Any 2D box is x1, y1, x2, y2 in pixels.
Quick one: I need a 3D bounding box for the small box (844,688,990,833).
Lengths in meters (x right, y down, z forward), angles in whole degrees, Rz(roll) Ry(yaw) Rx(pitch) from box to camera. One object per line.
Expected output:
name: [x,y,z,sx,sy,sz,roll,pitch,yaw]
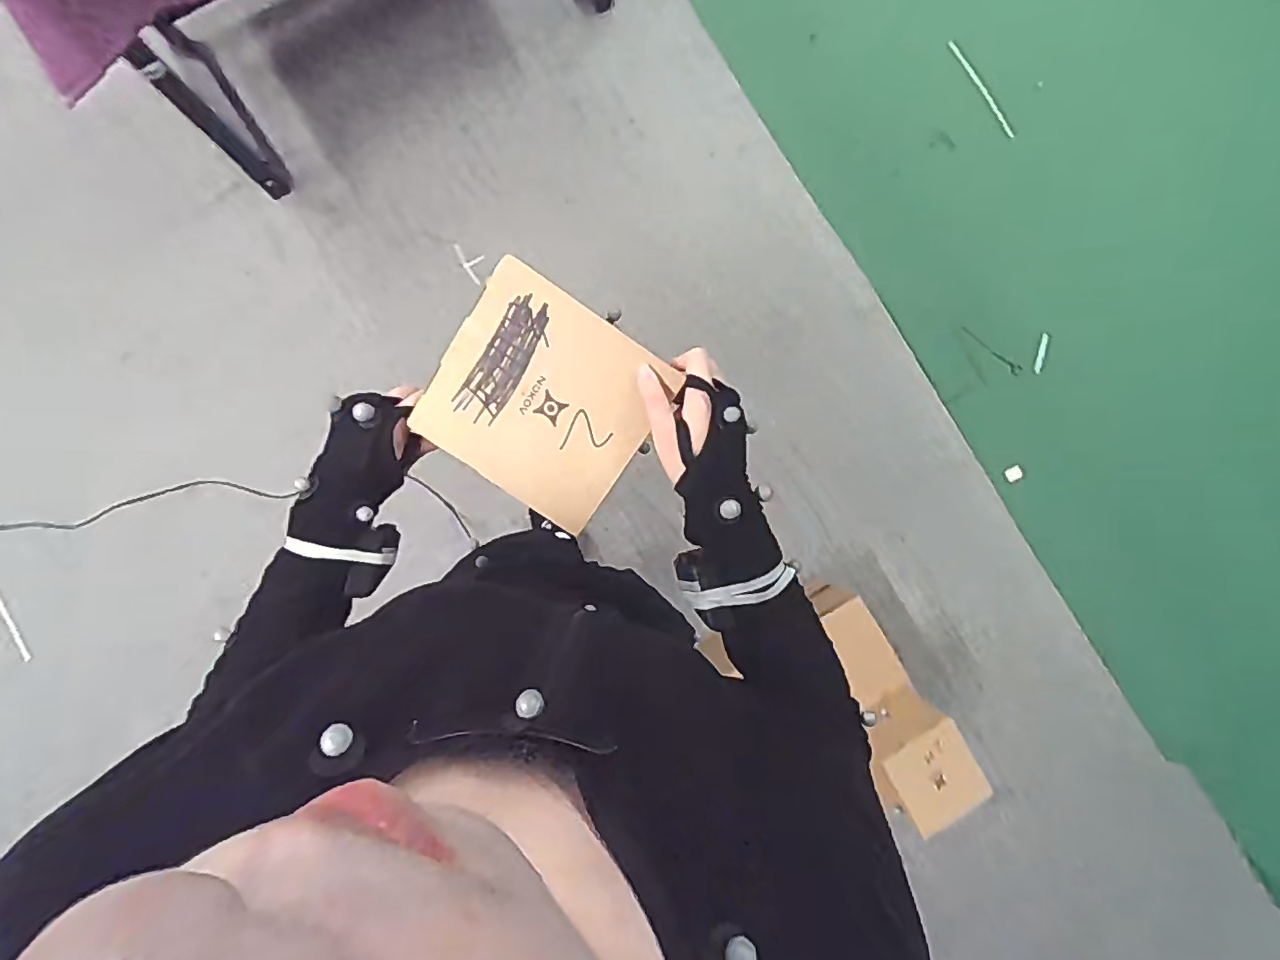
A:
small box: [0.562,0.567,1.119,0.168,0.176,0.179,-29,90,-5]
